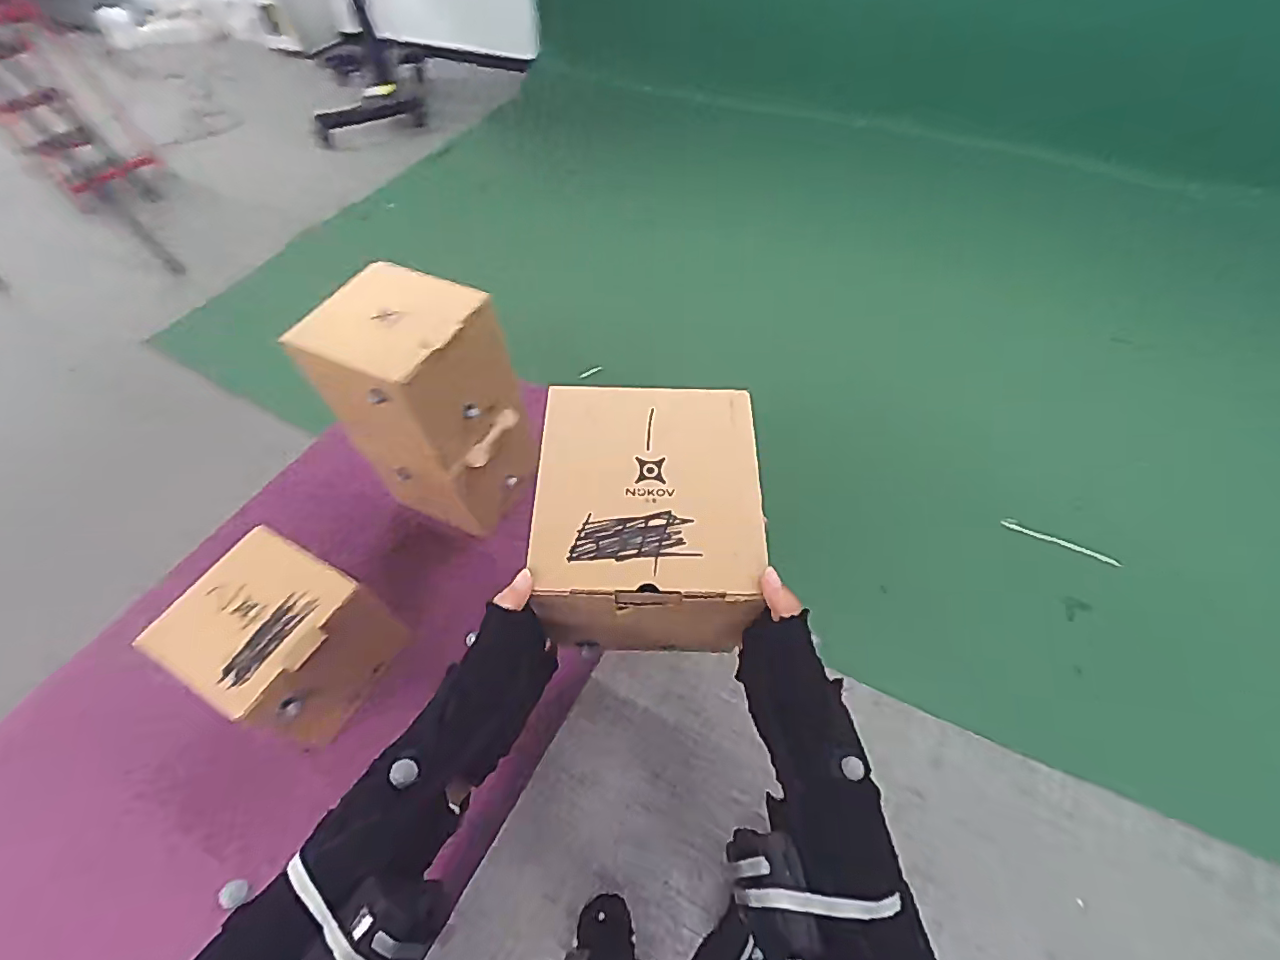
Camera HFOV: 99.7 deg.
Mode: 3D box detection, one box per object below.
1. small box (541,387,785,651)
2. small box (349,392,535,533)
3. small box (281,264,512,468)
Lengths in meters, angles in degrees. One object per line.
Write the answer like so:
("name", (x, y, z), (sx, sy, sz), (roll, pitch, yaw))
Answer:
("small box", (0.017, 0.042, 0.465), (0.168, 0.176, 0.179), (2, 60, -1))
("small box", (-0.285, -0.043, 0.820), (0.179, 0.176, 0.168), (20, 59, 15))
("small box", (-0.291, -0.140, 0.689), (0.179, 0.176, 0.168), (21, 58, 14))
